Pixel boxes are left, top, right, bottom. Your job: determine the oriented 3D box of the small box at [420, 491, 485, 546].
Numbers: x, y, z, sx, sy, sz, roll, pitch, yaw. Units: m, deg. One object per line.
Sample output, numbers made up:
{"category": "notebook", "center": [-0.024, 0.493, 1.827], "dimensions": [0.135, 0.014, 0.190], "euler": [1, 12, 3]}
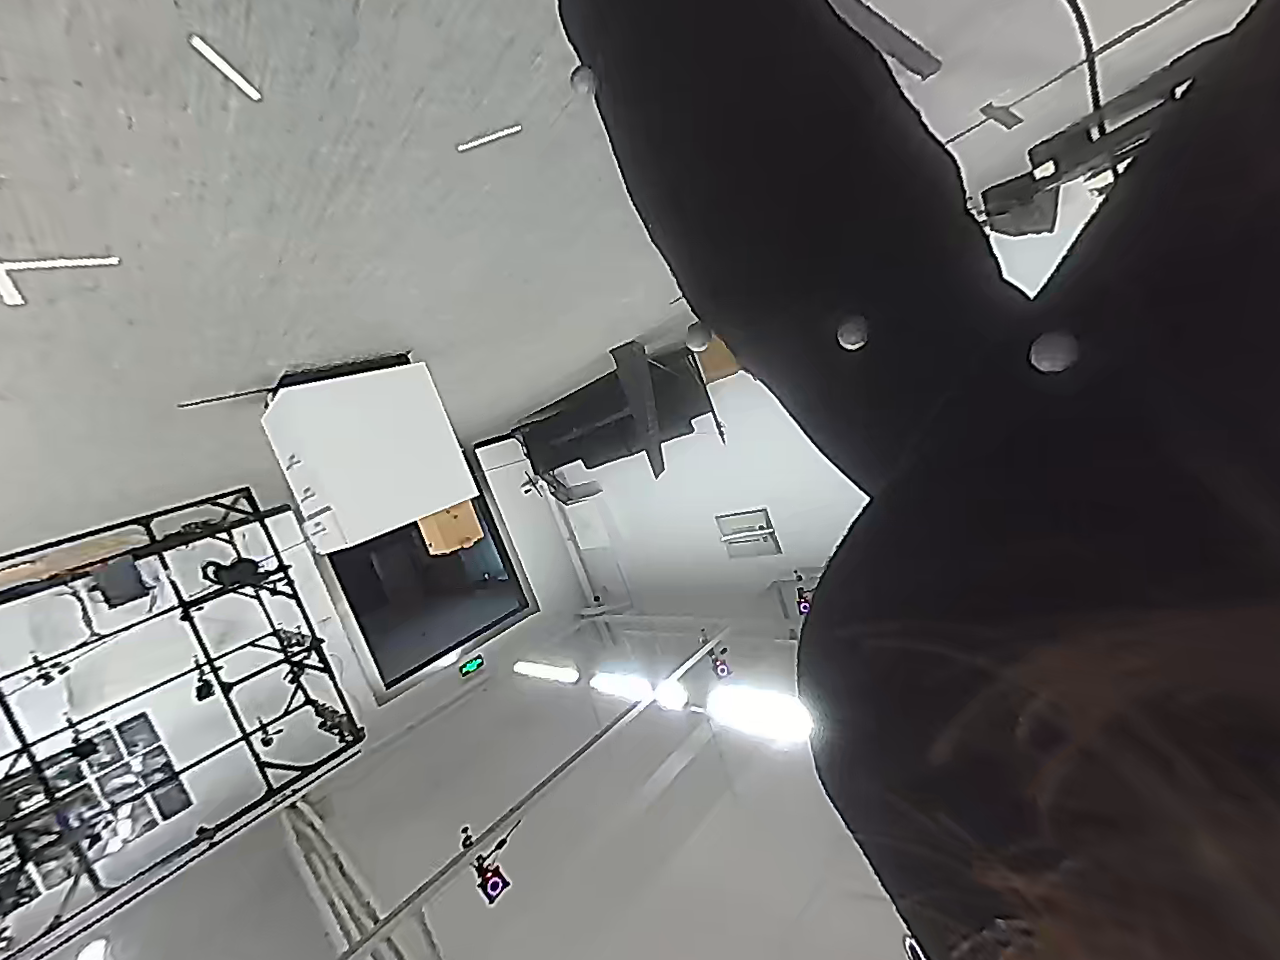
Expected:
{"category": "small box", "center": [-0.764, 0.154, 2.189], "dimensions": [0.168, 0.176, 0.179], "euler": [-28, -170, -41]}
